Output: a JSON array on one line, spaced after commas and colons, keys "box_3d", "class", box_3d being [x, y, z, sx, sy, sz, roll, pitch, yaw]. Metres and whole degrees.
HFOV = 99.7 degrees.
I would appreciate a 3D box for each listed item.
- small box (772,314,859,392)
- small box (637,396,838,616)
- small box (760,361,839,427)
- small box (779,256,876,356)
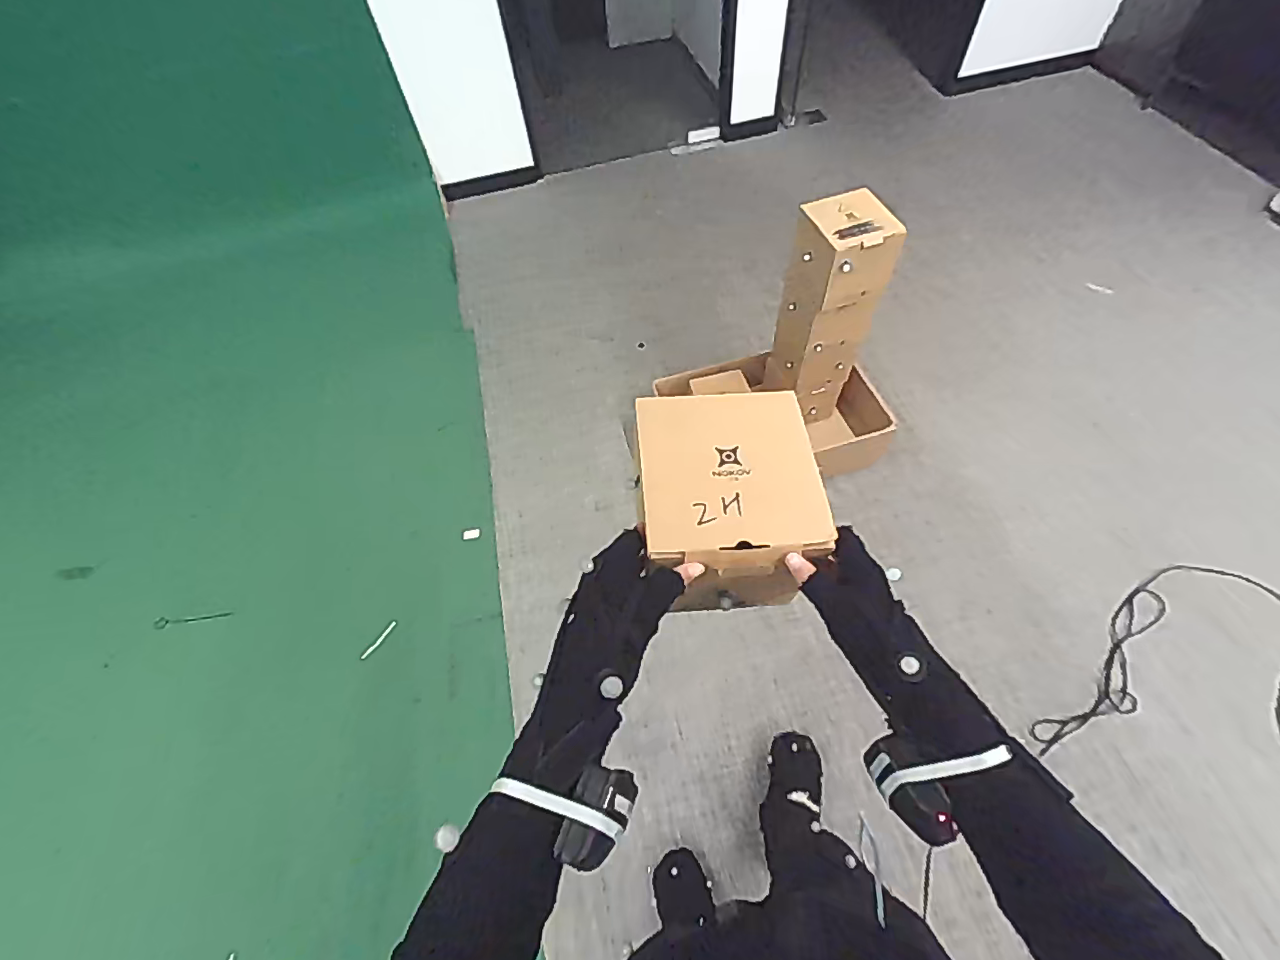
[{"box_3d": [0.486, -0.368, 1.525, 0.168, 0.176, 0.179, -16, 58, -4], "class": "small box"}, {"box_3d": [0.084, 0.032, 0.575, 0.168, 0.176, 0.179, -3, 59, -3], "class": "small box"}, {"box_3d": [0.488, -0.269, 1.677, 0.168, 0.176, 0.179, -20, 58, -5], "class": "small box"}, {"box_3d": [0.474, -0.439, 1.397, 0.168, 0.176, 0.179, -14, 58, -4], "class": "small box"}]
